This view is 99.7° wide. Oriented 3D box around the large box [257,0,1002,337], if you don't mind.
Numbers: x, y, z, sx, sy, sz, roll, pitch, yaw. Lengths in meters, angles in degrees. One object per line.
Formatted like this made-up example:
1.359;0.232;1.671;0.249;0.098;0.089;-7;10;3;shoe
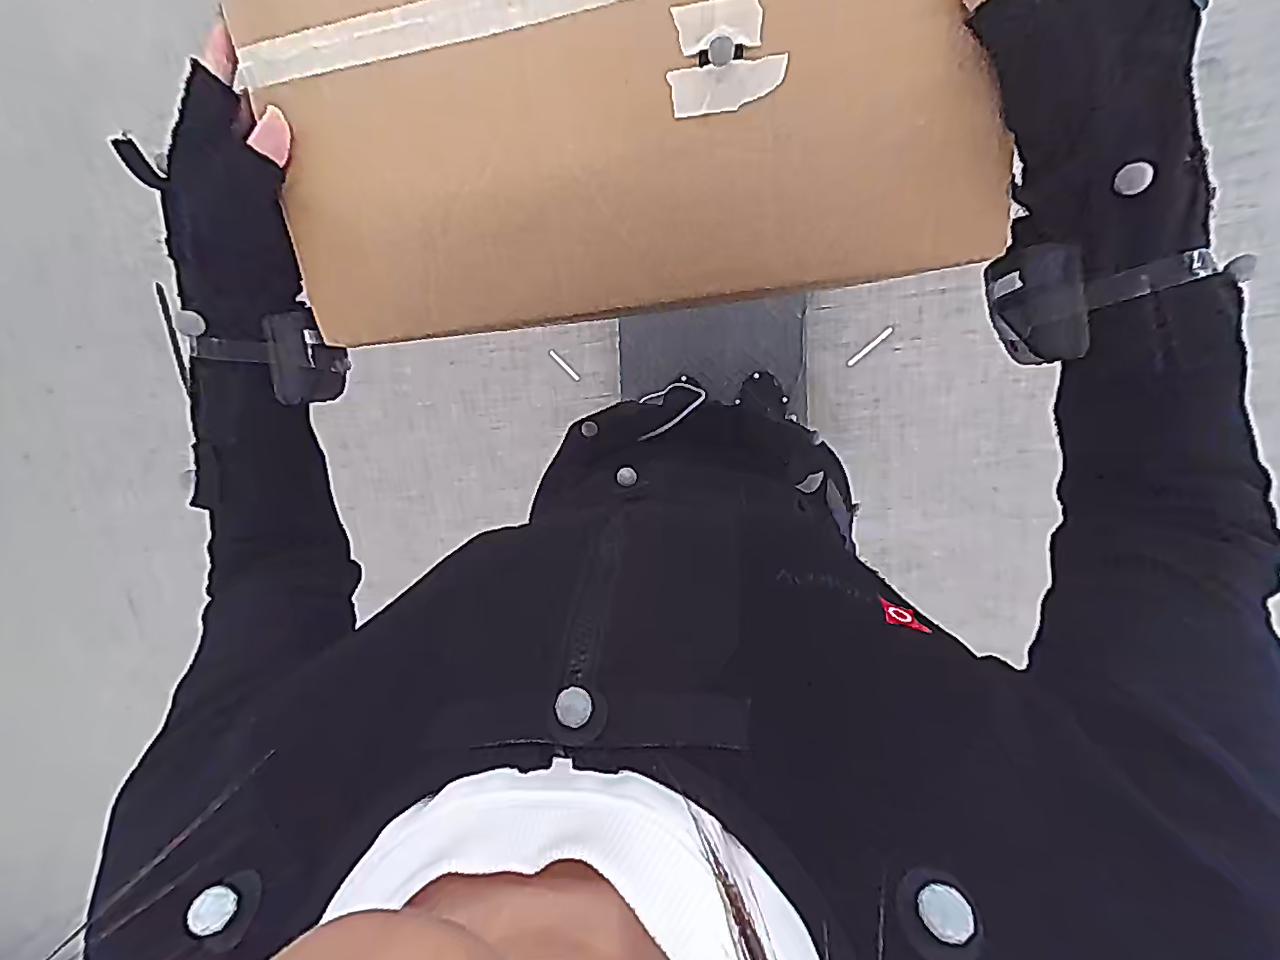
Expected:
-0.003;-0.303;0.427;0.408;0.320;0.320;-5;107;10;large box
